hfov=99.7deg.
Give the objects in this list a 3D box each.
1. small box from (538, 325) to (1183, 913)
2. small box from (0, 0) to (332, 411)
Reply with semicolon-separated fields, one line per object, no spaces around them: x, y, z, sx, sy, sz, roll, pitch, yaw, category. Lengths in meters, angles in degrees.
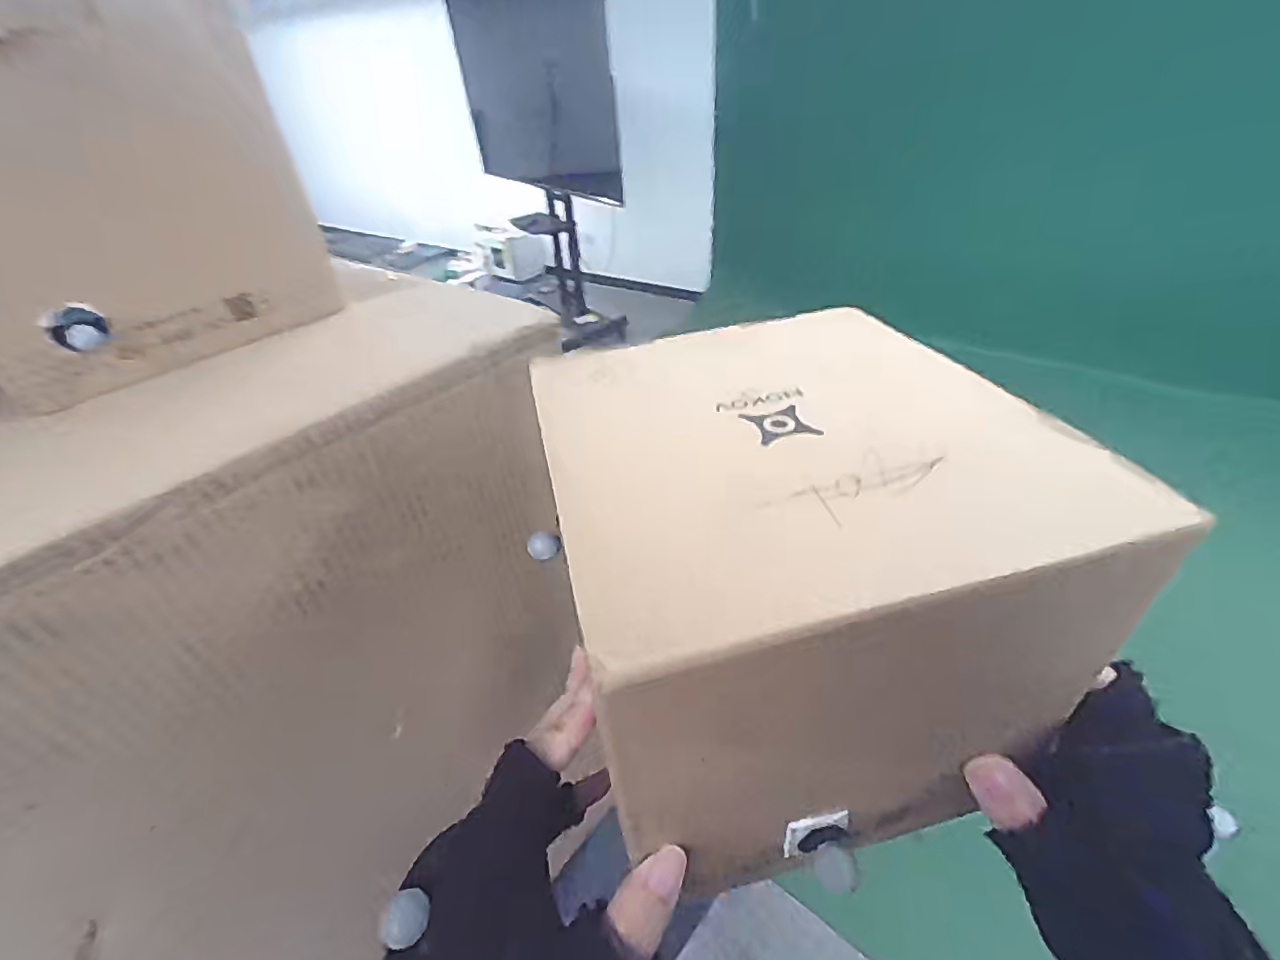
0.055;0.050;0.248;0.168;0.176;0.179;-13;38;-8;small box
-0.320;-0.157;0.308;0.179;0.176;0.168;20;44;29;small box
